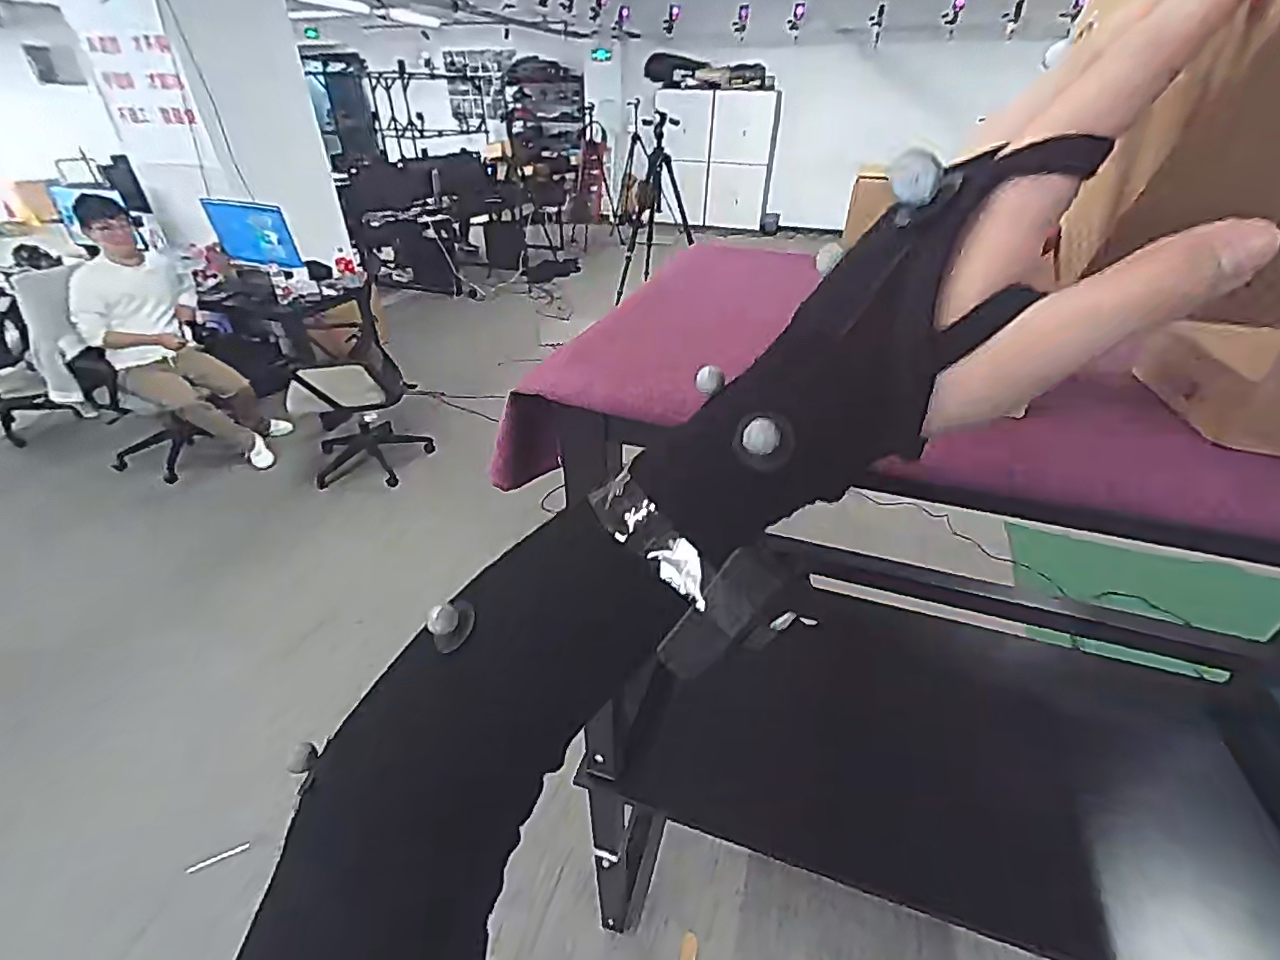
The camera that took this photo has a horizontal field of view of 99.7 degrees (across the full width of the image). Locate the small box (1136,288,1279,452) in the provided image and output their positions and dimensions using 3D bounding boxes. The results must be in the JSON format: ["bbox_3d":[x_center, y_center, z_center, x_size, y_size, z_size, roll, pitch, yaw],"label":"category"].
[{"bbox_3d":[0.534,-0.117,0.396,0.179,0.176,0.168,13,35,15],"label":"small box"}]

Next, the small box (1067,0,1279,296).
[{"bbox_3d":[0.265,-0.169,0.163,0.179,0.176,0.168,11,65,14],"label":"small box"}]
